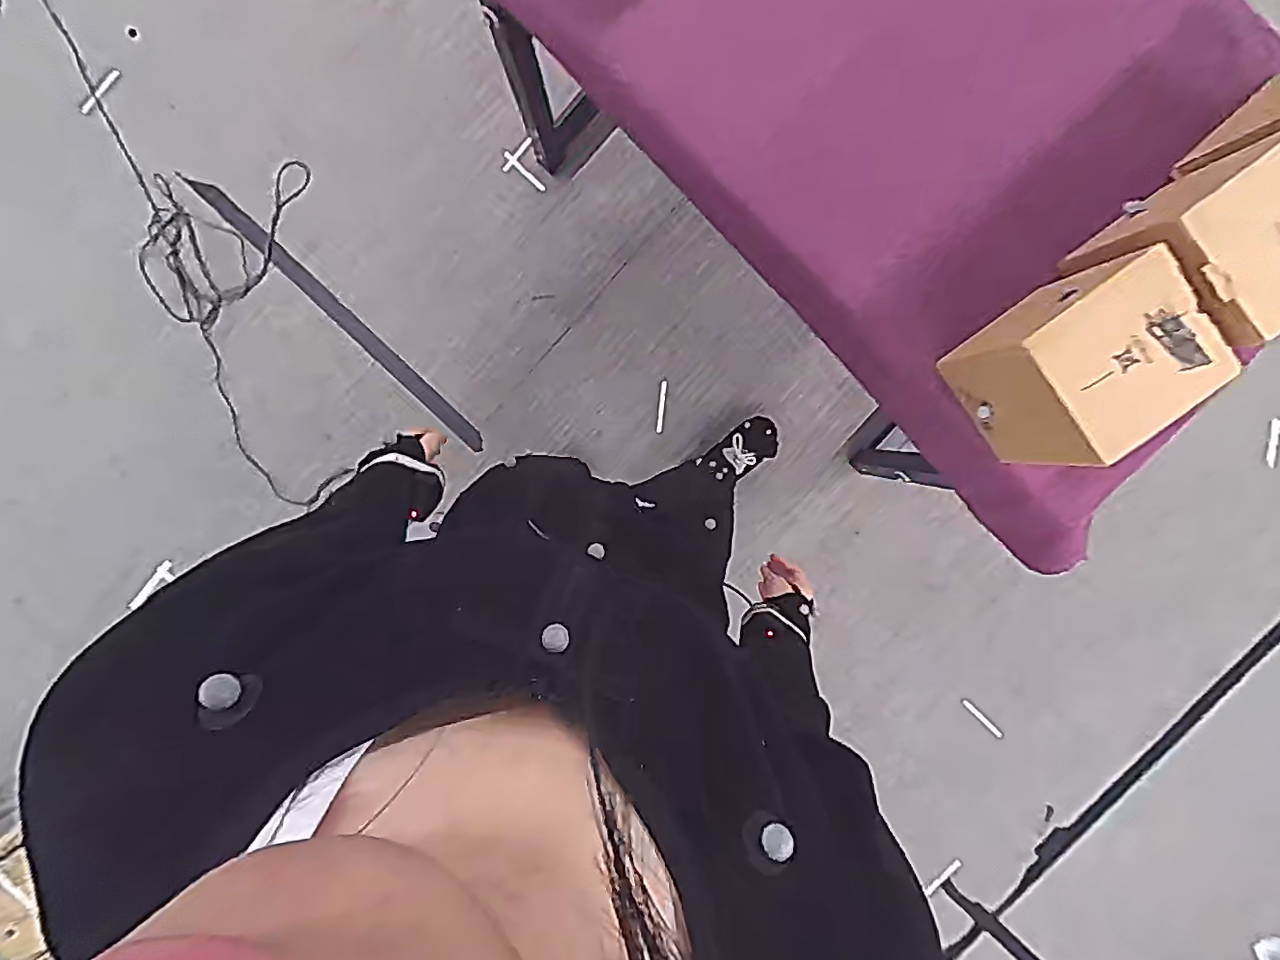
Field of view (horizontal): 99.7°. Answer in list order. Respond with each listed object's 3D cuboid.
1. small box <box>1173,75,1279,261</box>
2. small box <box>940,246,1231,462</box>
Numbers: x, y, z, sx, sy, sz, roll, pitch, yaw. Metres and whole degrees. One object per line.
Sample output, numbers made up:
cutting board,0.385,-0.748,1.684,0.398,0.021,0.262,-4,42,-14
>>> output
small box,0.807,-0.396,0.632,0.179,0.176,0.168,-43,95,2
small box,0.514,-0.139,0.652,0.179,0.176,0.168,-35,93,2
